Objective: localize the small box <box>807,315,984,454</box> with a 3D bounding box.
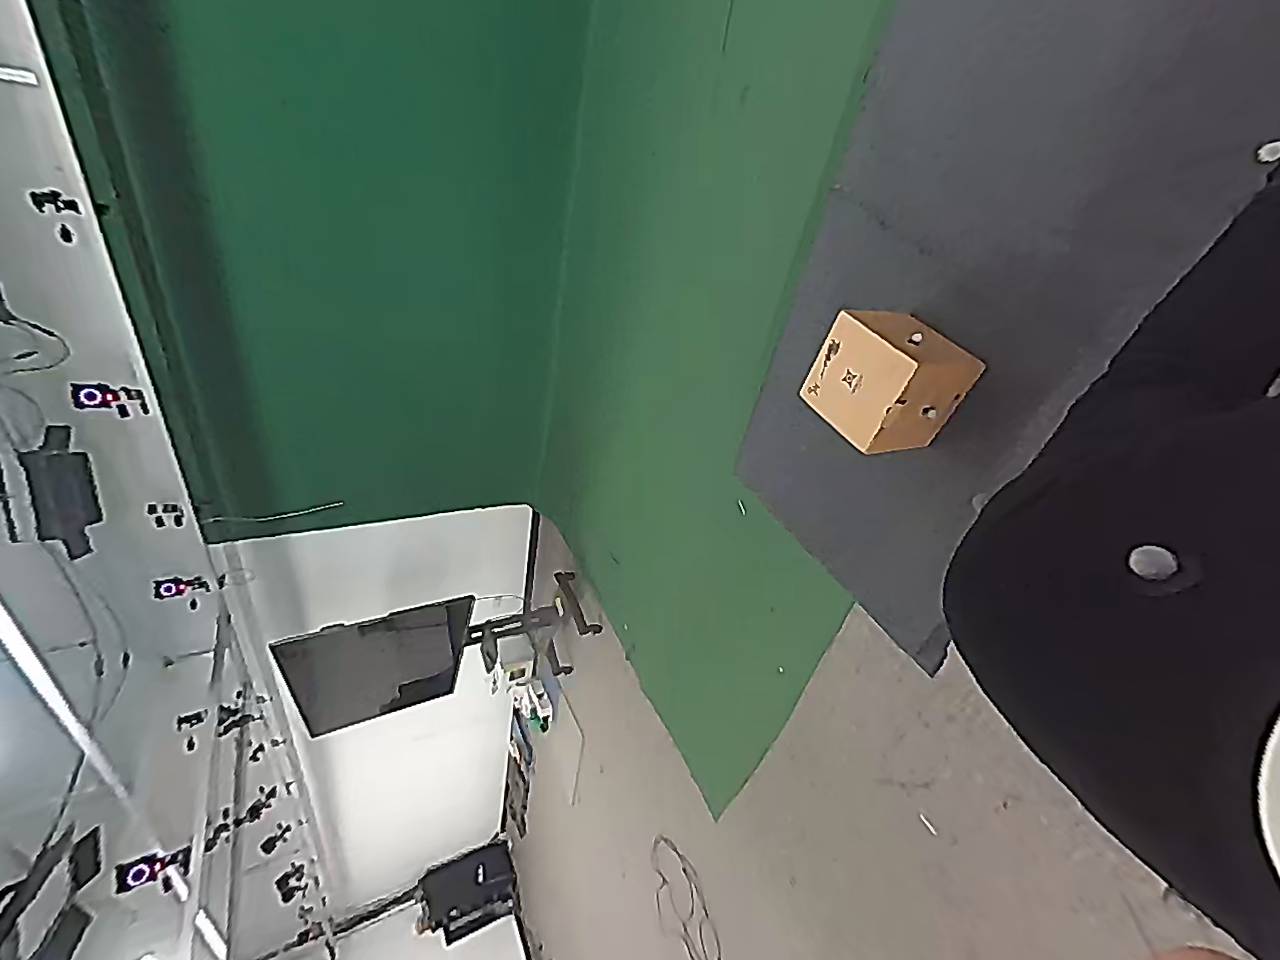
[{"bbox_3d":[0.423,-0.166,0.906,0.179,0.176,0.168,55,143,41],"label":"small box"}]
